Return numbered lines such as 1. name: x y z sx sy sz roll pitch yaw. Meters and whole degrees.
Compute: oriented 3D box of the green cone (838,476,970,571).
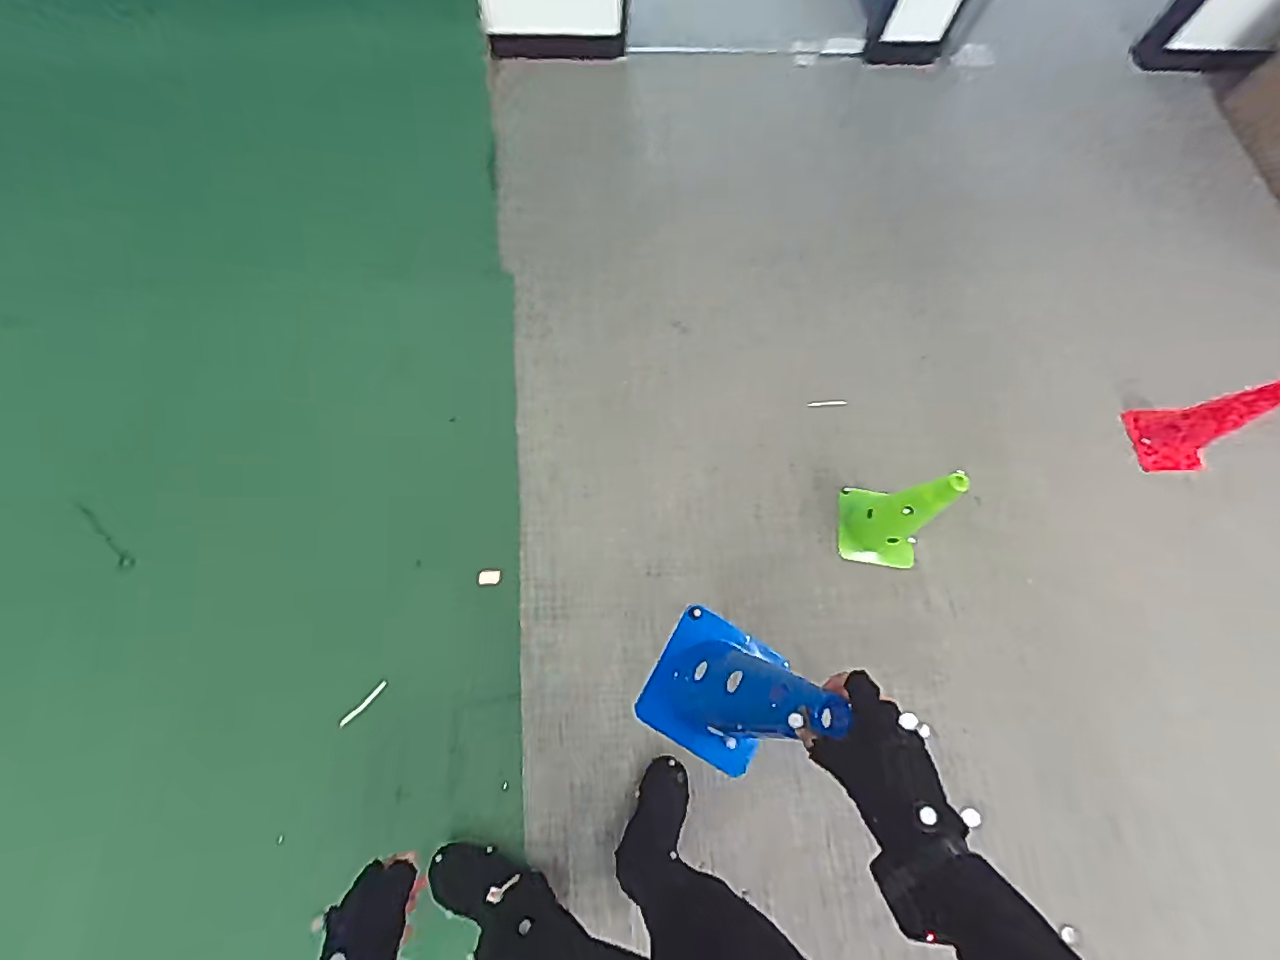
1. green cone: 0.641 0.075 1.280 0.202 0.368 0.200 8 69 -2
